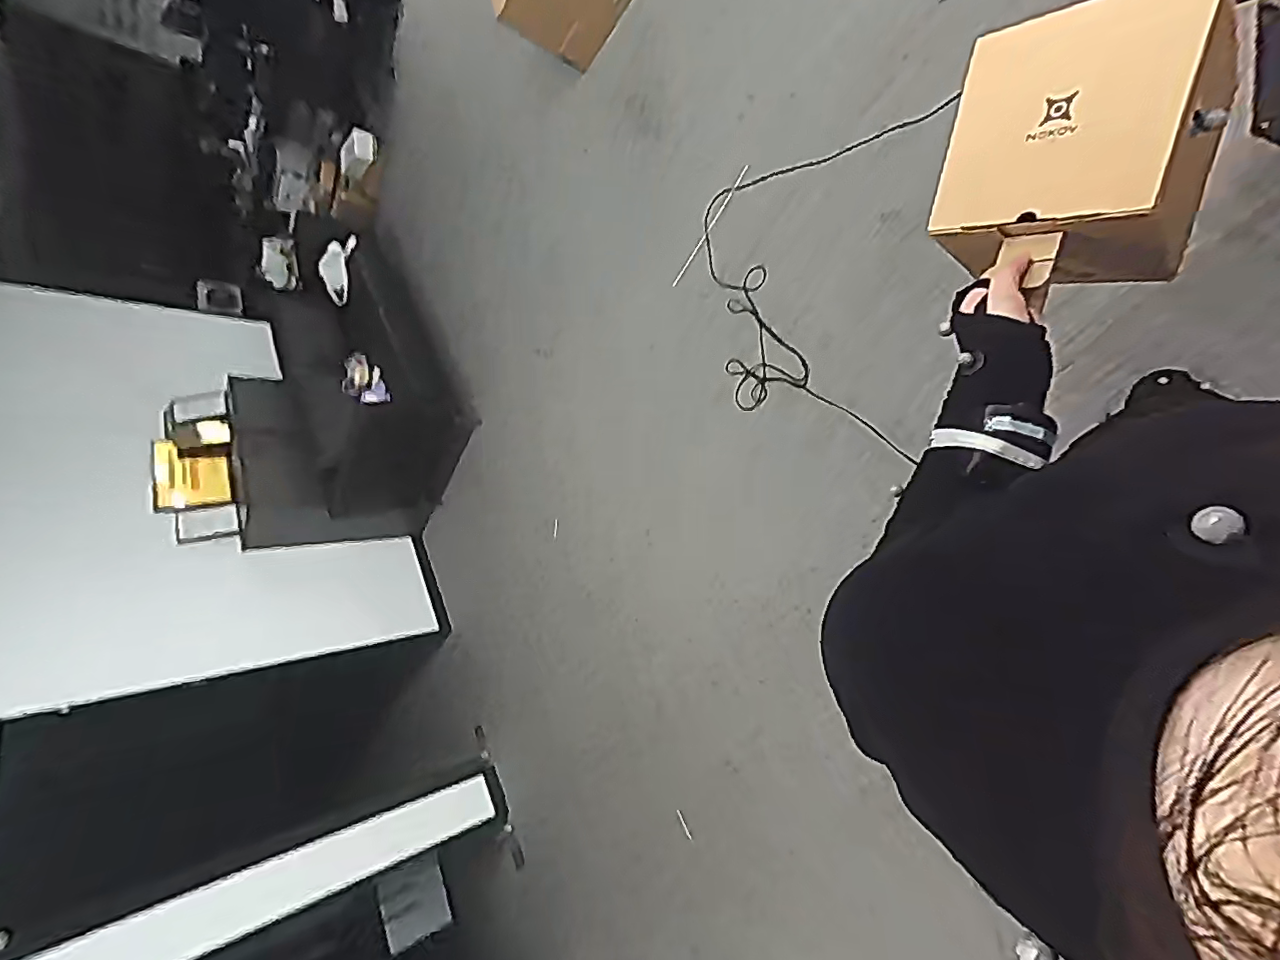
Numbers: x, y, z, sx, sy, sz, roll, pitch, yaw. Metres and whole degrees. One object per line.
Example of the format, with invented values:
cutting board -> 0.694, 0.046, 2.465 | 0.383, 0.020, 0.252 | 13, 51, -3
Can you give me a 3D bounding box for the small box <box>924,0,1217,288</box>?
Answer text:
small box -> 0.406, -0.297, 0.516 | 0.168, 0.176, 0.179 | 19, 102, 47
